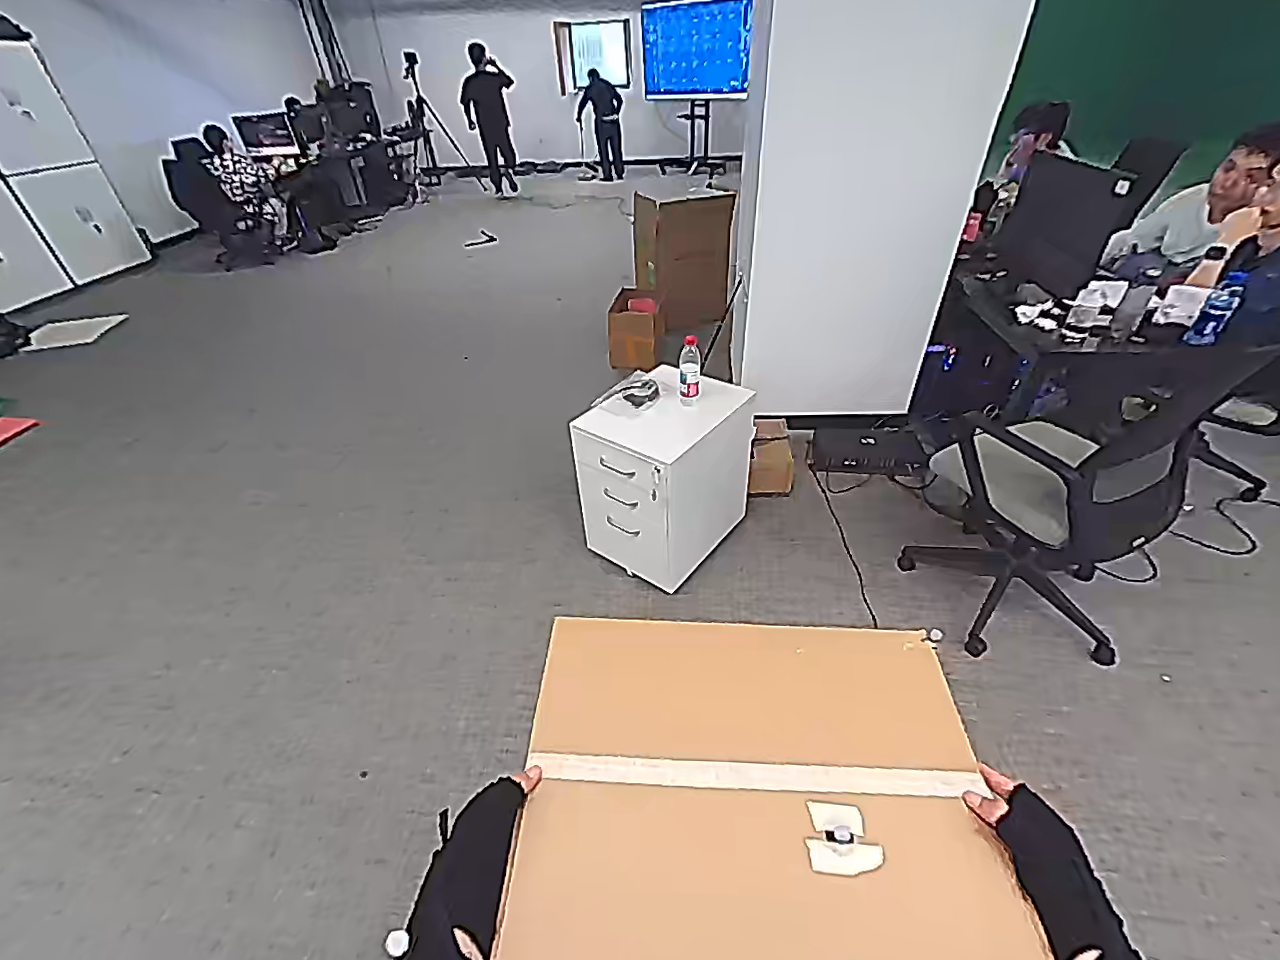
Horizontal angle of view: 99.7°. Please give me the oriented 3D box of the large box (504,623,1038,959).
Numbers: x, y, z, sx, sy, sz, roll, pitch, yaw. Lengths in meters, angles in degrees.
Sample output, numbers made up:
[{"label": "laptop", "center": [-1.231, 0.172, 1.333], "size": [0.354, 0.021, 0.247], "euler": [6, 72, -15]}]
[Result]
[{"label": "large box", "center": [0.101, 0.379, 0.594], "size": [0.408, 0.320, 0.320], "euler": [2, 44, 3]}]
